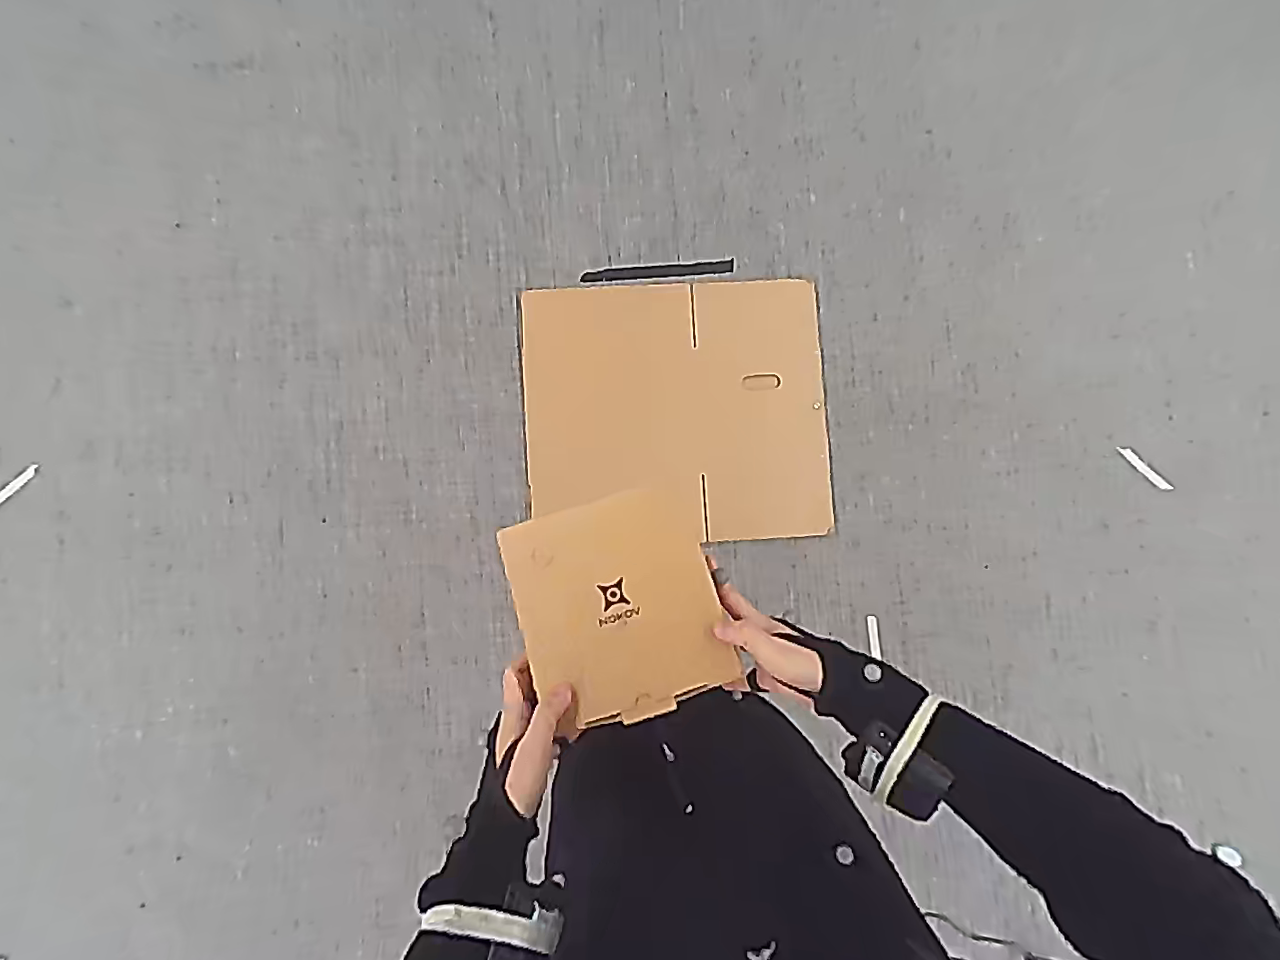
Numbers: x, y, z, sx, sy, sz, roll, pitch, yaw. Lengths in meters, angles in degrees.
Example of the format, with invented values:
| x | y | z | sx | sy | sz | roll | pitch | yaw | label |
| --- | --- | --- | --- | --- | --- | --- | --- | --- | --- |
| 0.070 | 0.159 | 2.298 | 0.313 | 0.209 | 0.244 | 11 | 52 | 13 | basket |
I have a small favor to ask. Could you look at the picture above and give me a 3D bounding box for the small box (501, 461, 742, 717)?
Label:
| x | y | z | sx | sy | sz | roll | pitch | yaw | label |
| --- | --- | --- | --- | --- | --- | --- | --- | --- | --- |
| -0.014 | 0.102 | 0.526 | 0.168 | 0.176 | 0.179 | -18 | 79 | 1 | small box |
